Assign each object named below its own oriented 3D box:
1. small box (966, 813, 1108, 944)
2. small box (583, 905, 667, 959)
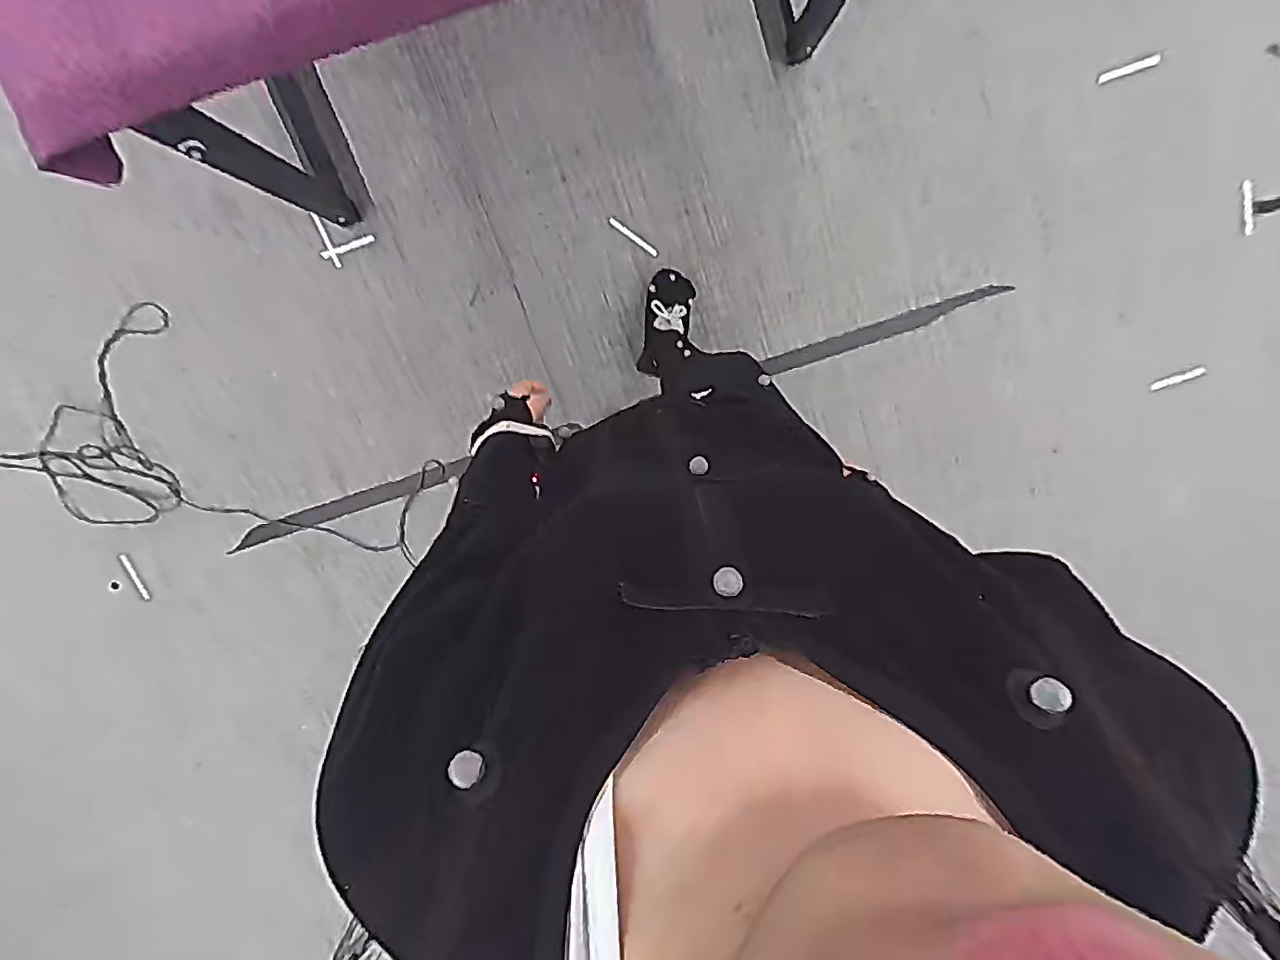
[{"bbox_3d":[0.945,0.950,1.303,0.179,0.176,0.168,29,101,-10],"label":"small box"},{"bbox_3d":[-0.042,1.248,1.384,0.168,0.176,0.179,32,100,-9],"label":"small box"}]
